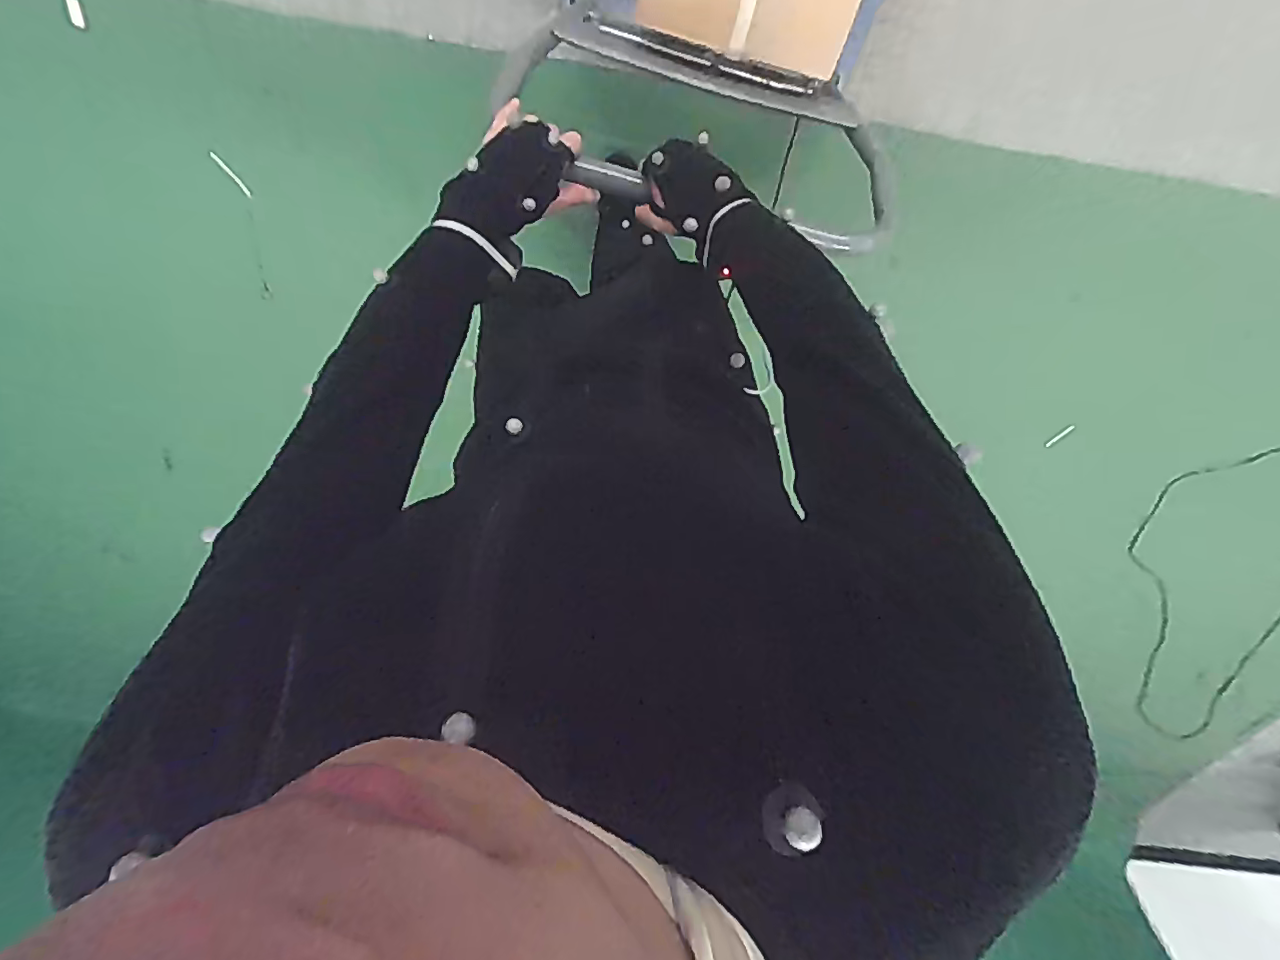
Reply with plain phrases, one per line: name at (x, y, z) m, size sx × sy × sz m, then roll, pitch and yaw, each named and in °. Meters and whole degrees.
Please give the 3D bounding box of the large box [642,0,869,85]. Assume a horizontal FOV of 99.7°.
large box at (0.201, -0.868, 0.790) m, size 0.320 × 0.320 × 0.408 m, roll 12°, pitch 132°, yaw -6°
